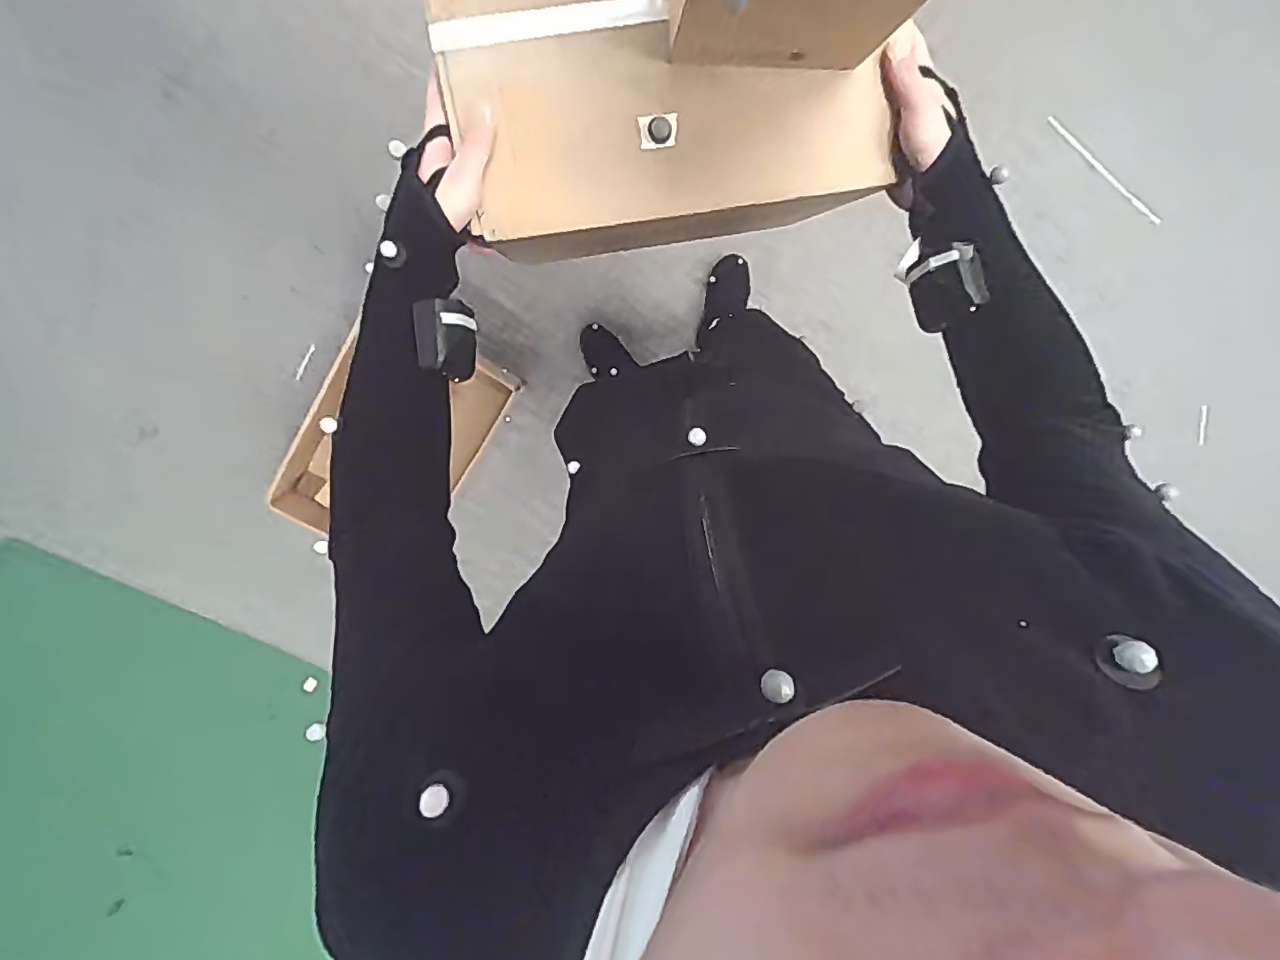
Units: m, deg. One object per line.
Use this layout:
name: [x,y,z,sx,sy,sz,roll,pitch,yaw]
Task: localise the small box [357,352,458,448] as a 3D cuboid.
small box: [-0.583,-0.212,1.383,0.168,0.176,0.179,27,103,-13]
